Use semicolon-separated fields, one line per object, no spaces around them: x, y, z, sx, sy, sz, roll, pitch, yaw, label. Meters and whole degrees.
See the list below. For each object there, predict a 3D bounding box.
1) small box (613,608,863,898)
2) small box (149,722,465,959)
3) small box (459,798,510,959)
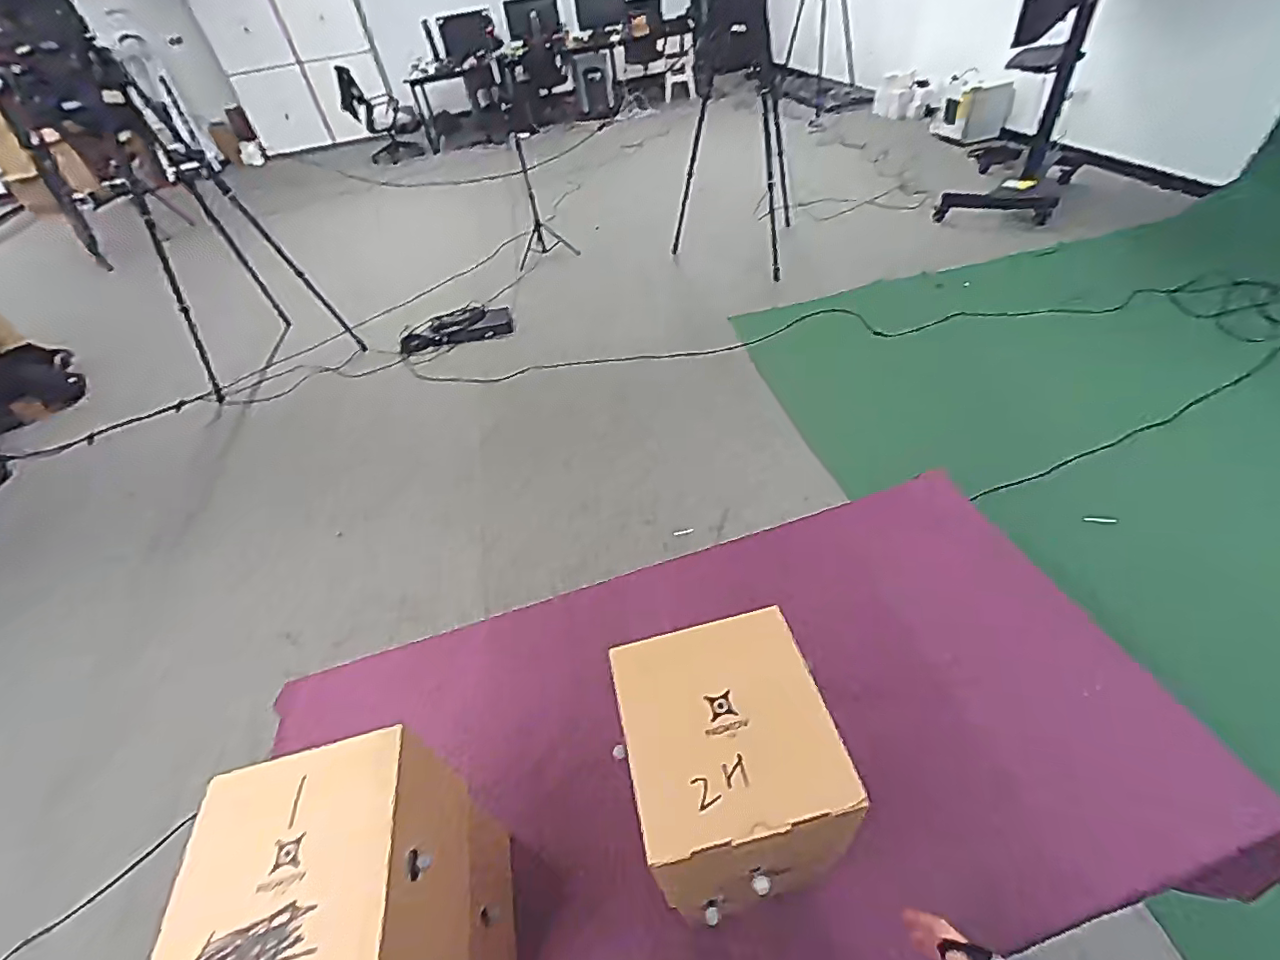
0.077;0.252;0.502;0.168;0.176;0.179;-13;45;-3;small box
-0.259;0.345;0.465;0.168;0.176;0.179;-14;44;-4;small box
-0.241;0.467;0.575;0.168;0.176;0.179;-13;45;-5;small box
